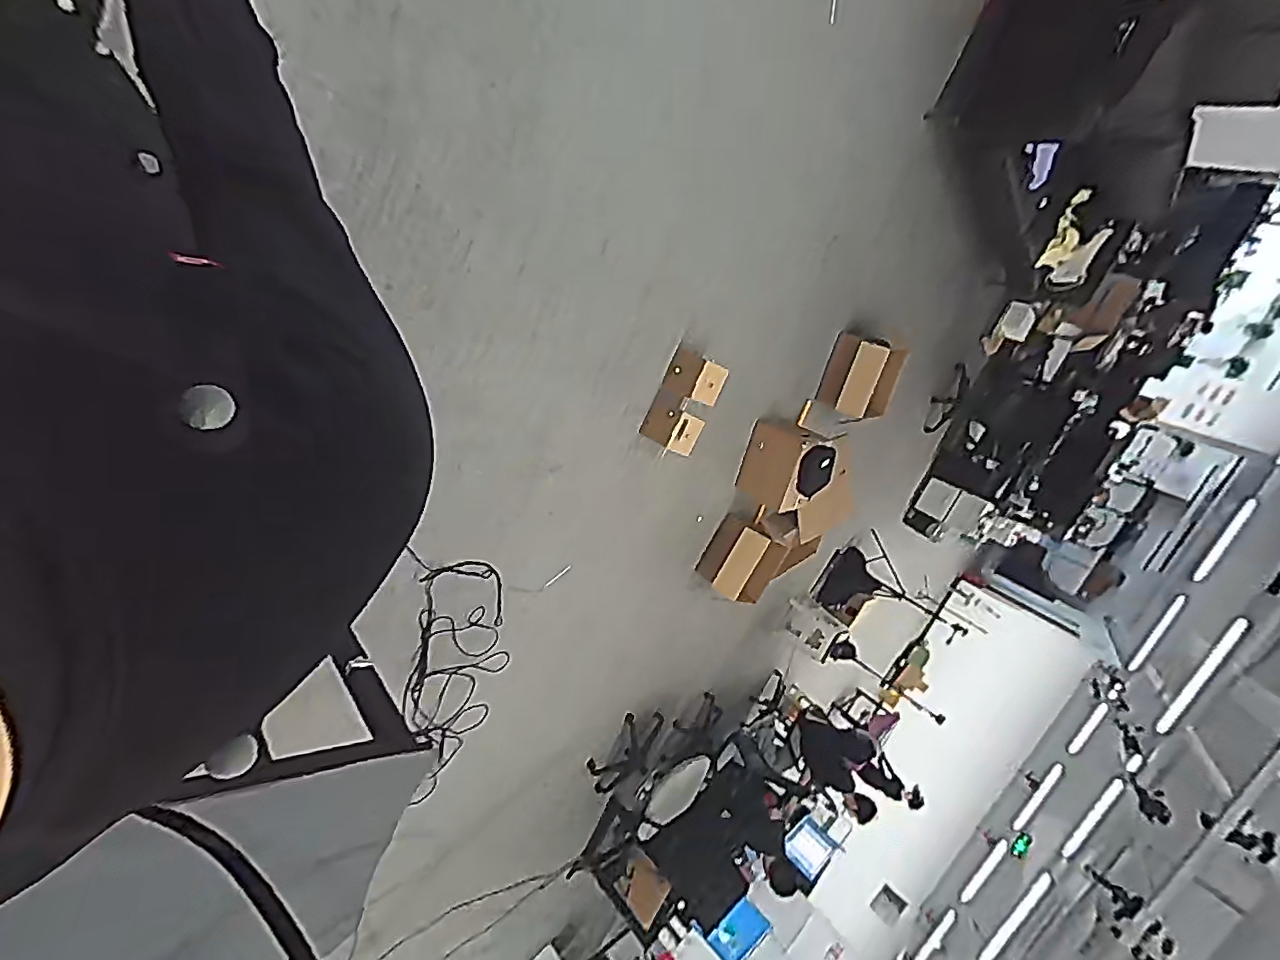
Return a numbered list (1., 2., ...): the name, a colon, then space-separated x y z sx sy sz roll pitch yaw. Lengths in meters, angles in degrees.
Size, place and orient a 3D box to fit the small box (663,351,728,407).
1. small box: 0.228 -0.419 2.235 0.179 0.176 0.168 8 109 -50
